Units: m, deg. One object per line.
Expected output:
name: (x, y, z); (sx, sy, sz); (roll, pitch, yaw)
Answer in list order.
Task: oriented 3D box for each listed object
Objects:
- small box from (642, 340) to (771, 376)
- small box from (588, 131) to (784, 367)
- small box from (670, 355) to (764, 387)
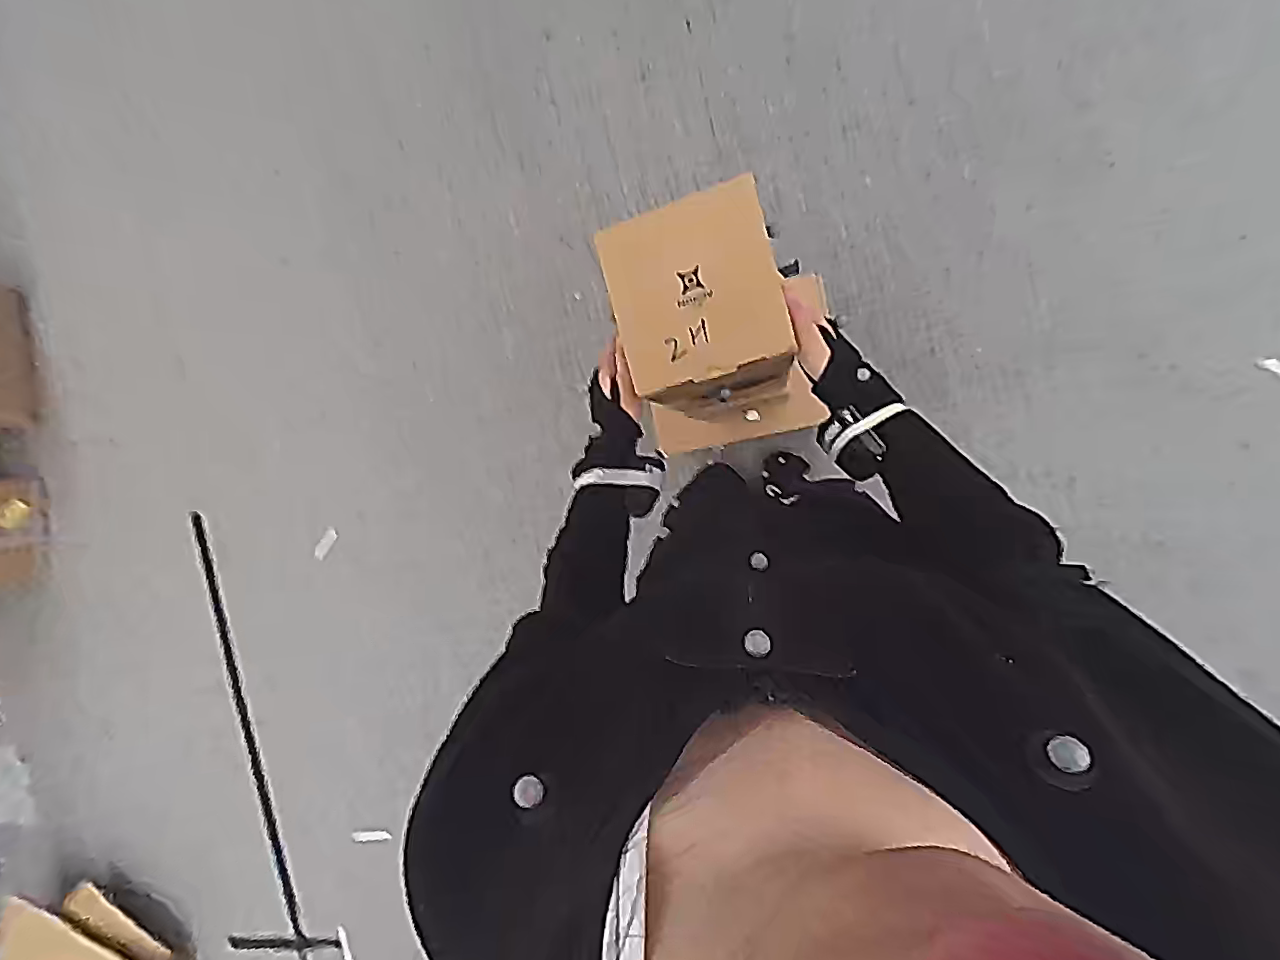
small box: (0.081, -0.248, 0.749); (0.168, 0.176, 0.179); (-8, 97, 10)
small box: (0.054, -0.229, 0.587); (0.168, 0.176, 0.179); (-9, 96, 11)
small box: (0.143, -0.280, 1.069); (0.179, 0.176, 0.168); (-9, 97, 10)
